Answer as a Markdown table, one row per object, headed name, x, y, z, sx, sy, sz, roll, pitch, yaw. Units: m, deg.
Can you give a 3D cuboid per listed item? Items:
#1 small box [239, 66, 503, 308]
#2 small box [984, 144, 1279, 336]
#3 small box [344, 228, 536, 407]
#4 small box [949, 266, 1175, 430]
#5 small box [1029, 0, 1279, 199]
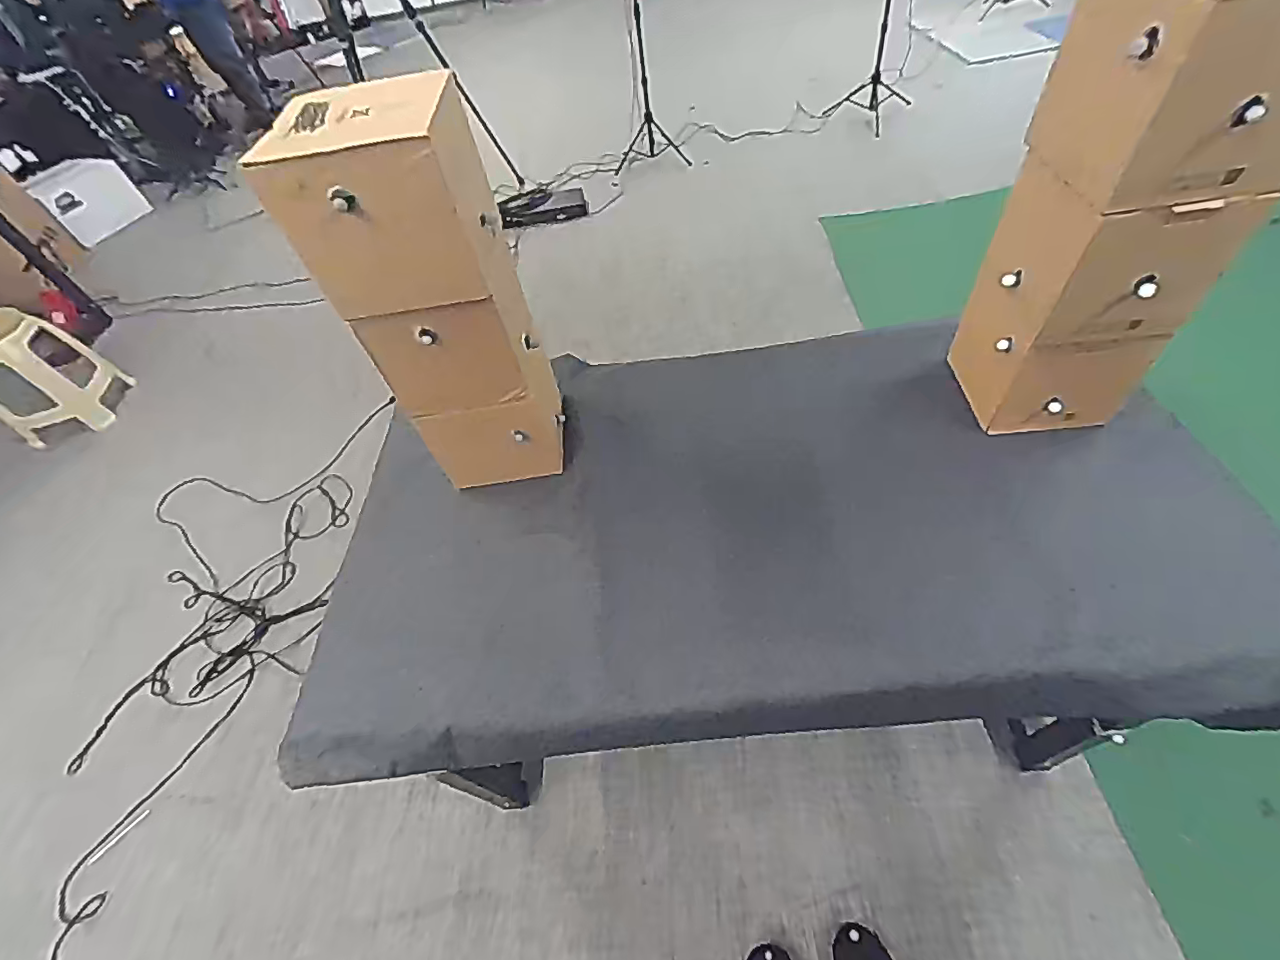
| name | x | y | z | sx | sy | sz | roll | pitch | yaw |
| --- | --- | --- | --- | --- | --- | --- | --- | --- | --- |
| small box | -0.264 | -0.305 | 0.581 | 0.179 | 0.176 | 0.168 | -7 | 54 | 2 |
| small box | 0.547 | -0.286 | 0.638 | 0.168 | 0.176 | 0.179 | -4 | 54 | 7 |
| small box | -0.248 | -0.214 | 0.717 | 0.179 | 0.176 | 0.168 | -9 | 54 | 1 |
| small box | 0.572 | -0.193 | 0.770 | 0.168 | 0.176 | 0.179 | -5 | 53 | 6 |
| small box | 0.518 | -0.384 | 0.507 | 0.168 | 0.176 | 0.179 | -5 | 53 | 5 |
